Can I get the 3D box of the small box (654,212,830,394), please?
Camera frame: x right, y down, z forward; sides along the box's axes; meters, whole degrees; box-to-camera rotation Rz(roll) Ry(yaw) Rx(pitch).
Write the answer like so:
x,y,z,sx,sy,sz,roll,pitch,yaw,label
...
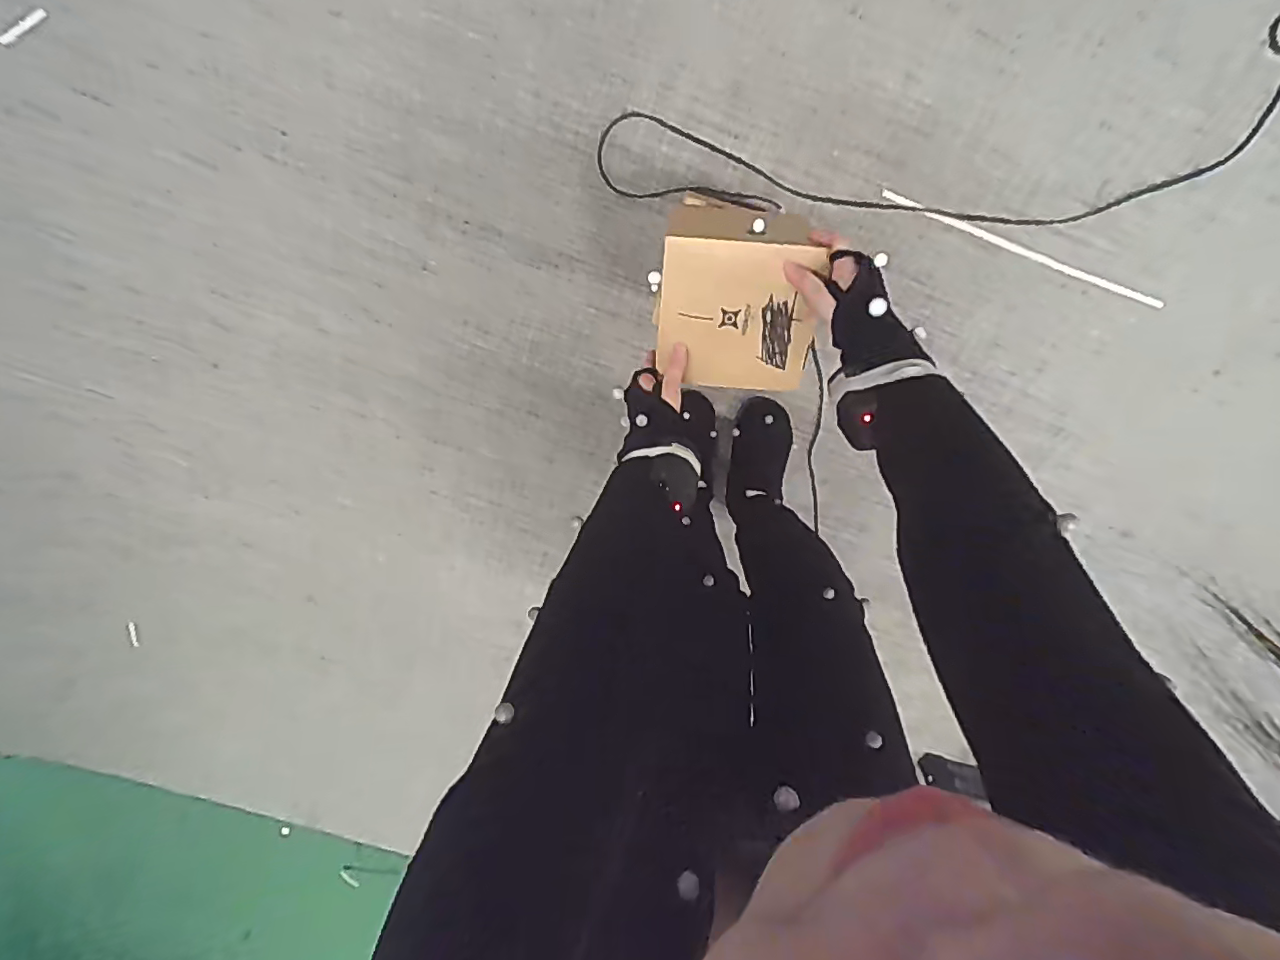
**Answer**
x,y,z,sx,sy,sz,roll,pitch,yaw,label
0.113,-0.223,0.669,0.179,0.176,0.168,5,127,3,small box
